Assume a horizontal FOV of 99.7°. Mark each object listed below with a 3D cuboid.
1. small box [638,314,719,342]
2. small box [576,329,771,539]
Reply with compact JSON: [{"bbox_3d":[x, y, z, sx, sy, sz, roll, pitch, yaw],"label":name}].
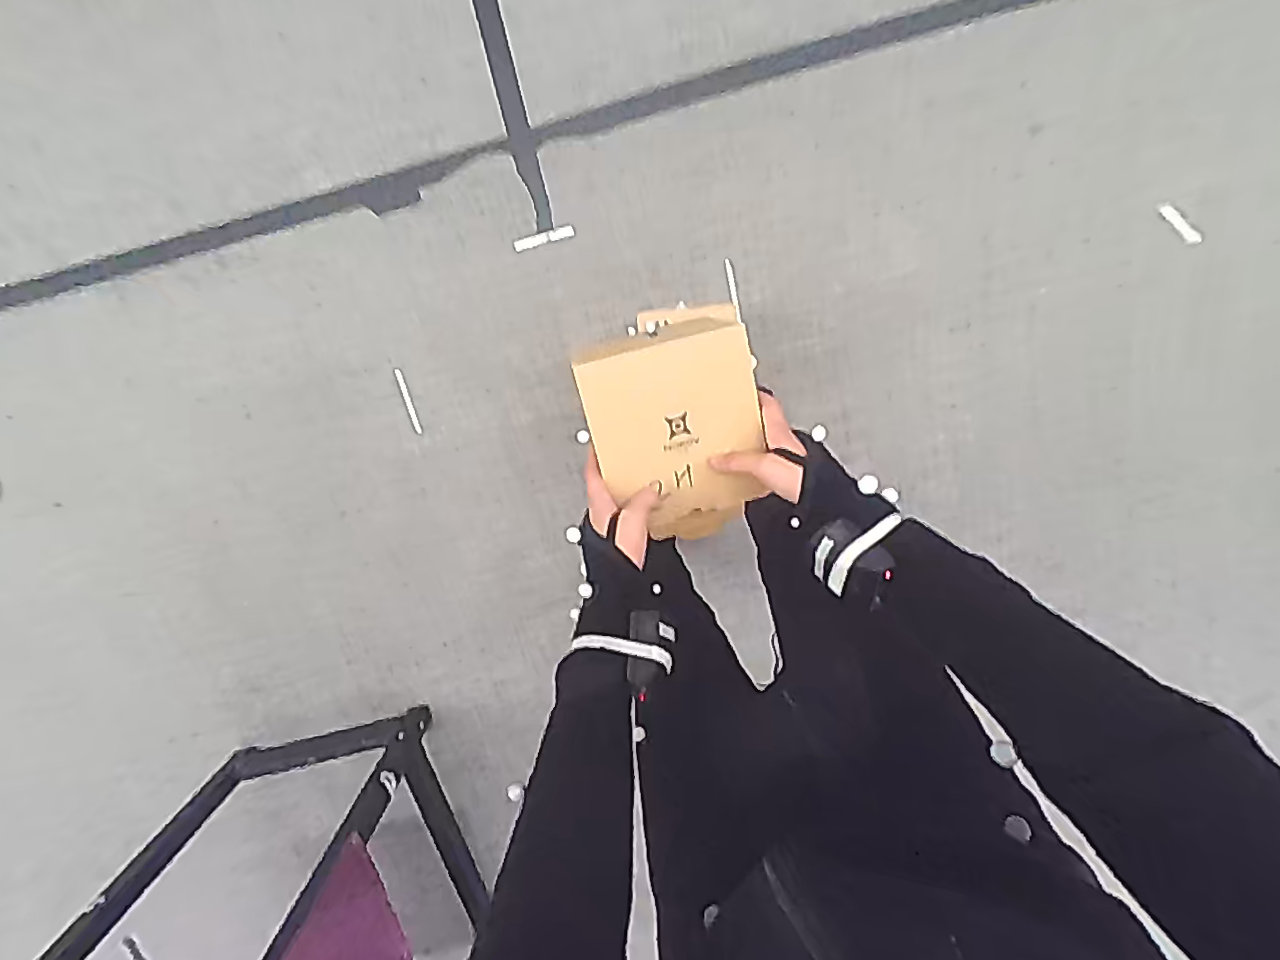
[{"bbox_3d":[0.090,-0.263,1.195,0.168,0.176,0.179,-10,104,1],"label":"small box"},{"bbox_3d":[0.027,-0.063,0.595,0.168,0.176,0.179,-15,110,-1],"label":"small box"}]
